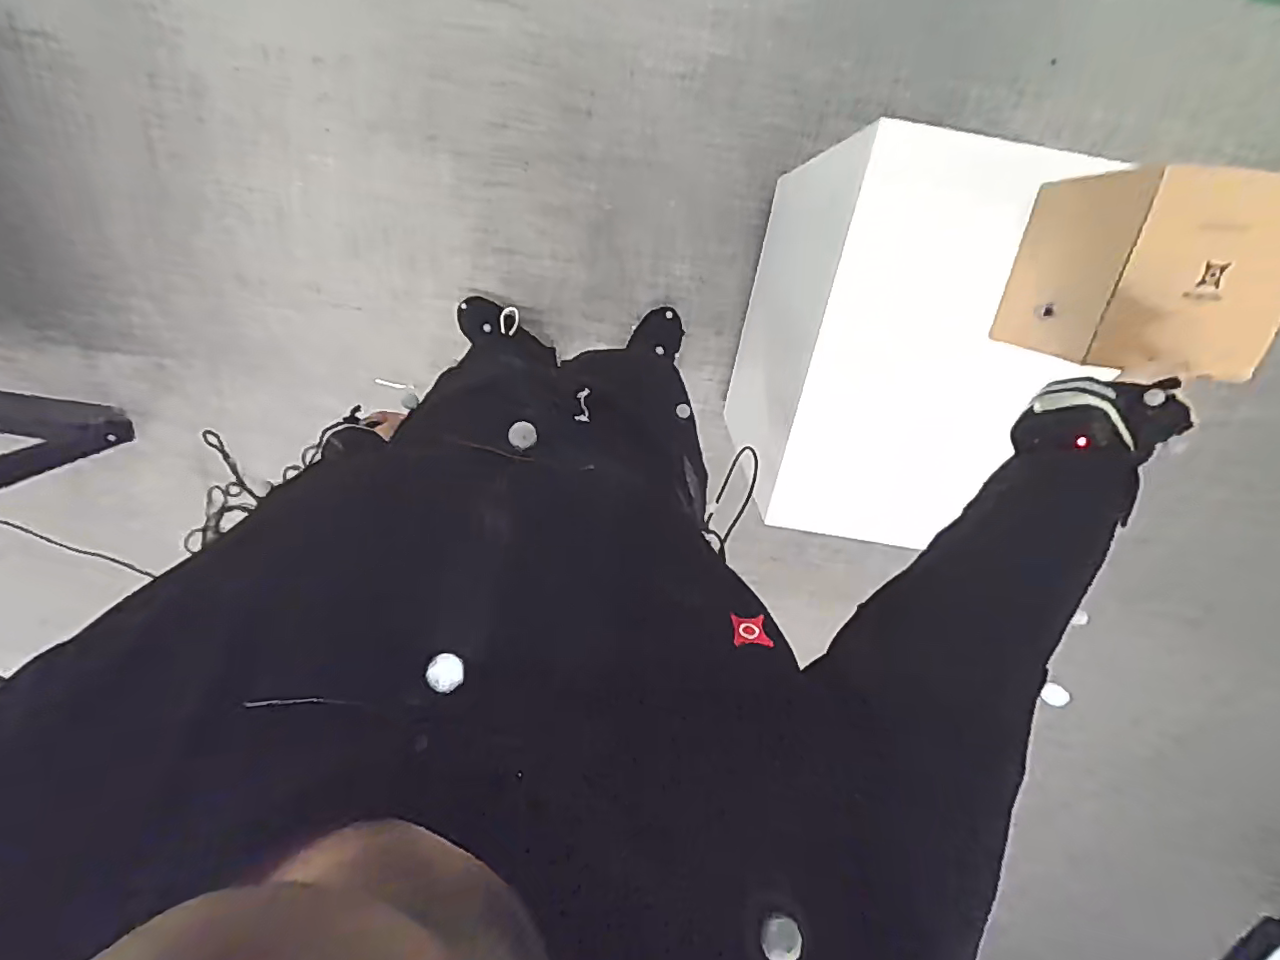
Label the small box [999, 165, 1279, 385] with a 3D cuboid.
[{"bbox_3d":[0.519,-0.210,0.563,0.168,0.176,0.179,5,113,-1],"label":"small box"}]
